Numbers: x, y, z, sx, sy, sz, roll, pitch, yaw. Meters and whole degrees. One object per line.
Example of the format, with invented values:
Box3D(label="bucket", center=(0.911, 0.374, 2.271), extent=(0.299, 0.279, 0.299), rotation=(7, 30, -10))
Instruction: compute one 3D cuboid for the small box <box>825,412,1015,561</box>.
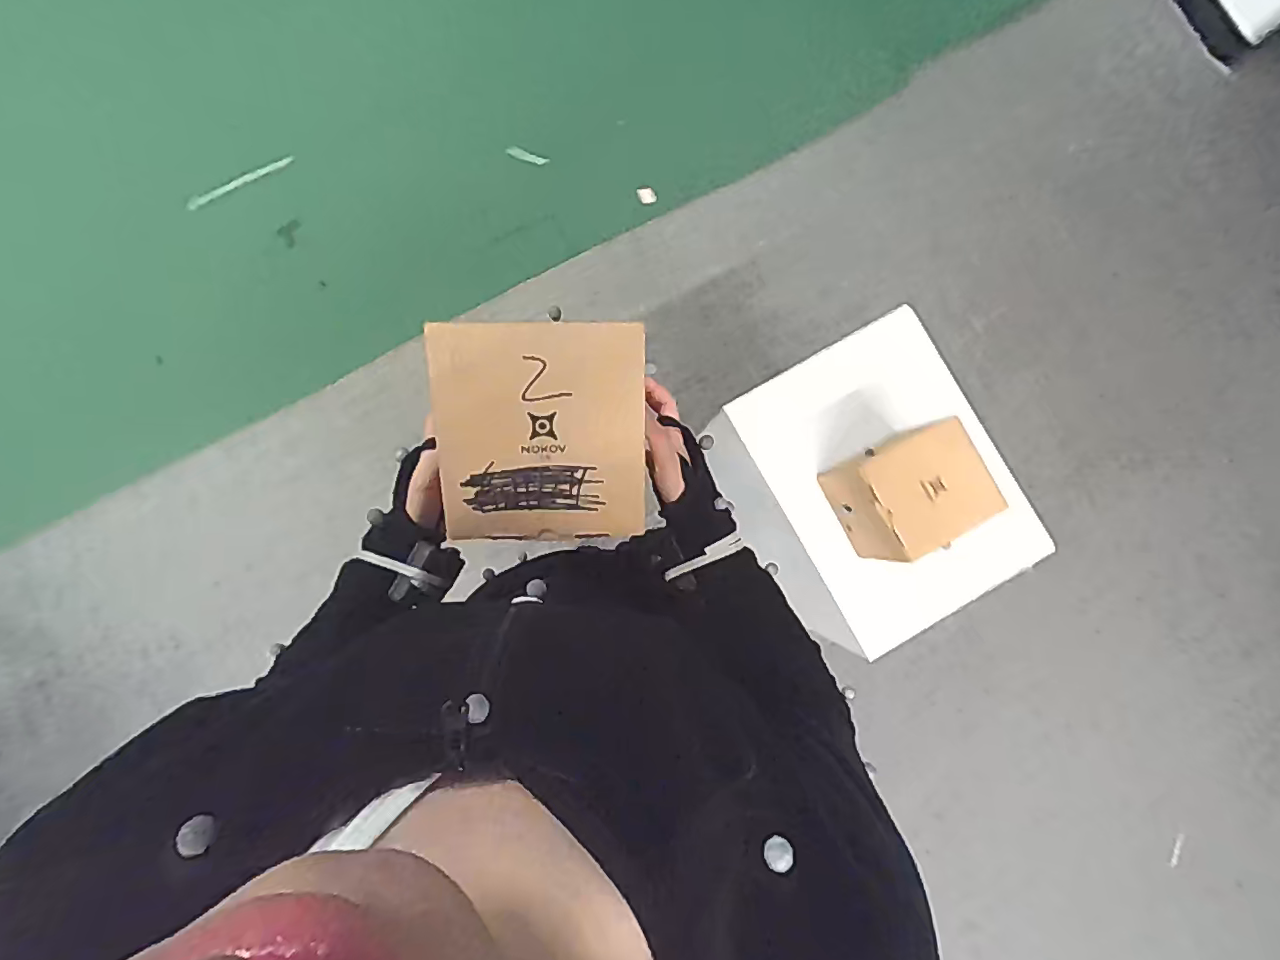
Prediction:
Box3D(label="small box", center=(0.433, 0.013, 0.865), extent=(0.179, 0.176, 0.168), rotation=(-27, 87, -5))
